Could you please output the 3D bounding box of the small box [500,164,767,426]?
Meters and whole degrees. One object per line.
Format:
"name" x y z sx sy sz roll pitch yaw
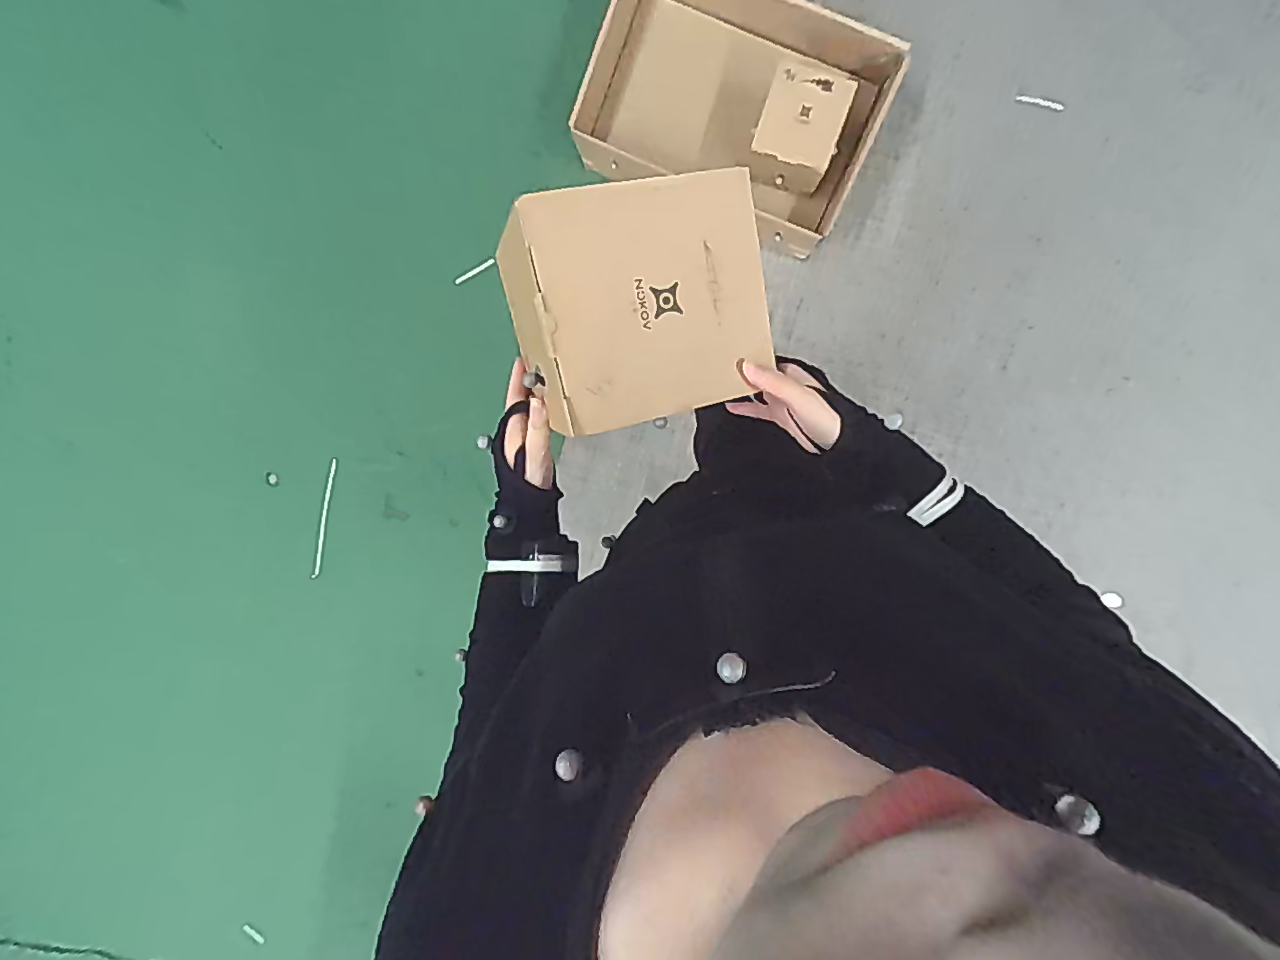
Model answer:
"small box" -0.018 -0.148 0.470 0.179 0.176 0.168 -16 104 -16

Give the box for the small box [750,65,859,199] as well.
"small box" 0.347 -0.744 1.179 0.168 0.176 0.179 20 102 3
